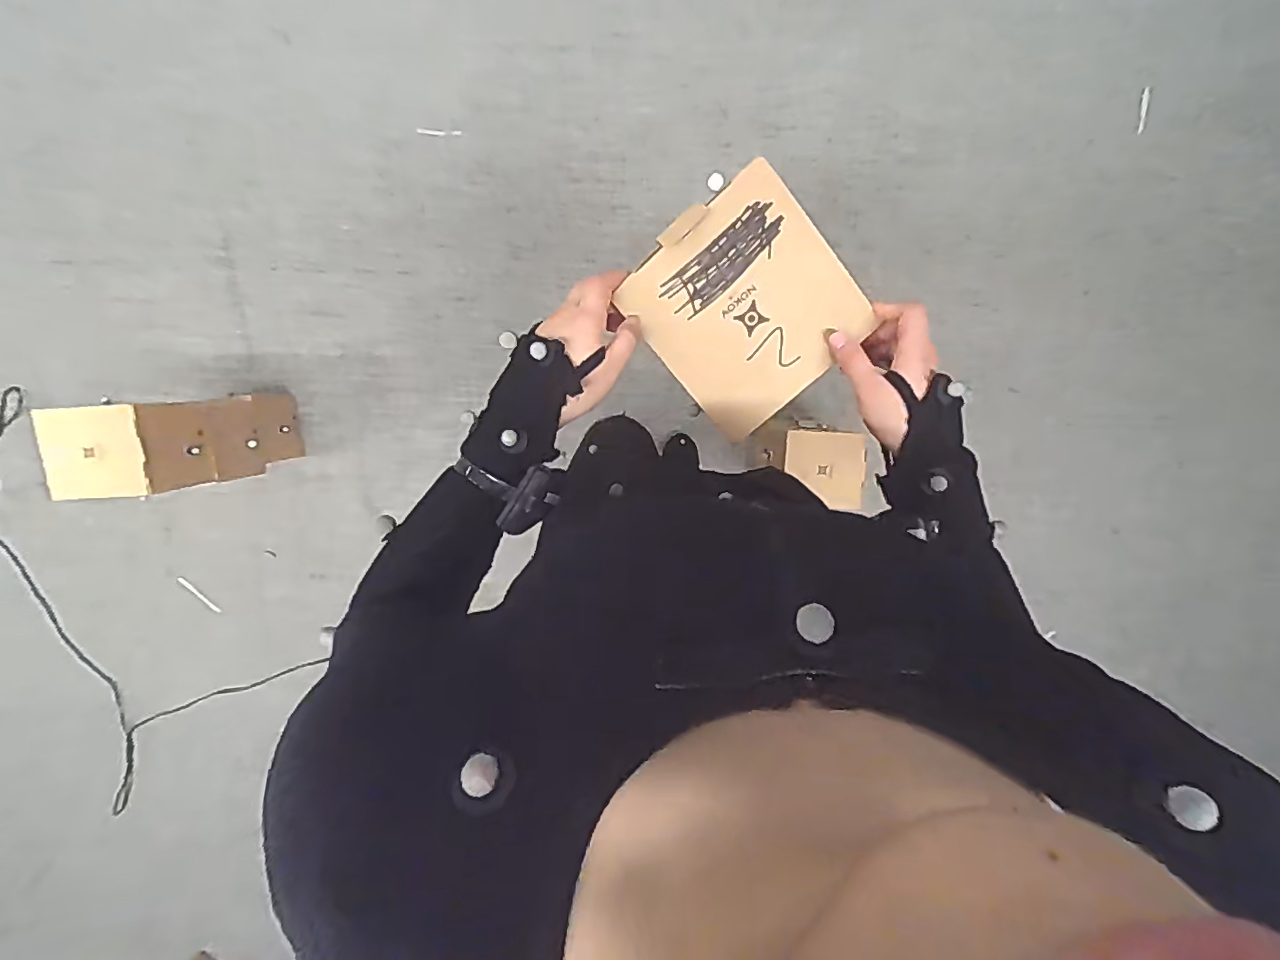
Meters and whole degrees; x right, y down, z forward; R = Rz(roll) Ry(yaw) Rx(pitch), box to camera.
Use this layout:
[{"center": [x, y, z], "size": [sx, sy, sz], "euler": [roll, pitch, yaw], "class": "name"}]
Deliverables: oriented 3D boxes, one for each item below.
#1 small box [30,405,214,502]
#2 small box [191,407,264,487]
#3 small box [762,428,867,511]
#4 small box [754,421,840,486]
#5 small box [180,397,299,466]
[{"center": [-0.971, -0.056, 1.030], "size": [0.179, 0.176, 0.168], "euler": [-4, 99, -1], "class": "small box"}, {"center": [-0.979, -0.075, 1.191], "size": [0.179, 0.176, 0.168], "euler": [-3, 99, -1], "class": "small box"}, {"center": [0.388, -0.030, 1.227], "size": [0.179, 0.176, 0.168], "euler": [3, 97, -1], "class": "small box"}, {"center": [0.395, -0.060, 1.388], "size": [0.168, 0.176, 0.179], "euler": [2, 98, -1], "class": "small box"}, {"center": [-0.986, -0.117, 1.350], "size": [0.179, 0.176, 0.168], "euler": [-6, 98, 0], "class": "small box"}]
